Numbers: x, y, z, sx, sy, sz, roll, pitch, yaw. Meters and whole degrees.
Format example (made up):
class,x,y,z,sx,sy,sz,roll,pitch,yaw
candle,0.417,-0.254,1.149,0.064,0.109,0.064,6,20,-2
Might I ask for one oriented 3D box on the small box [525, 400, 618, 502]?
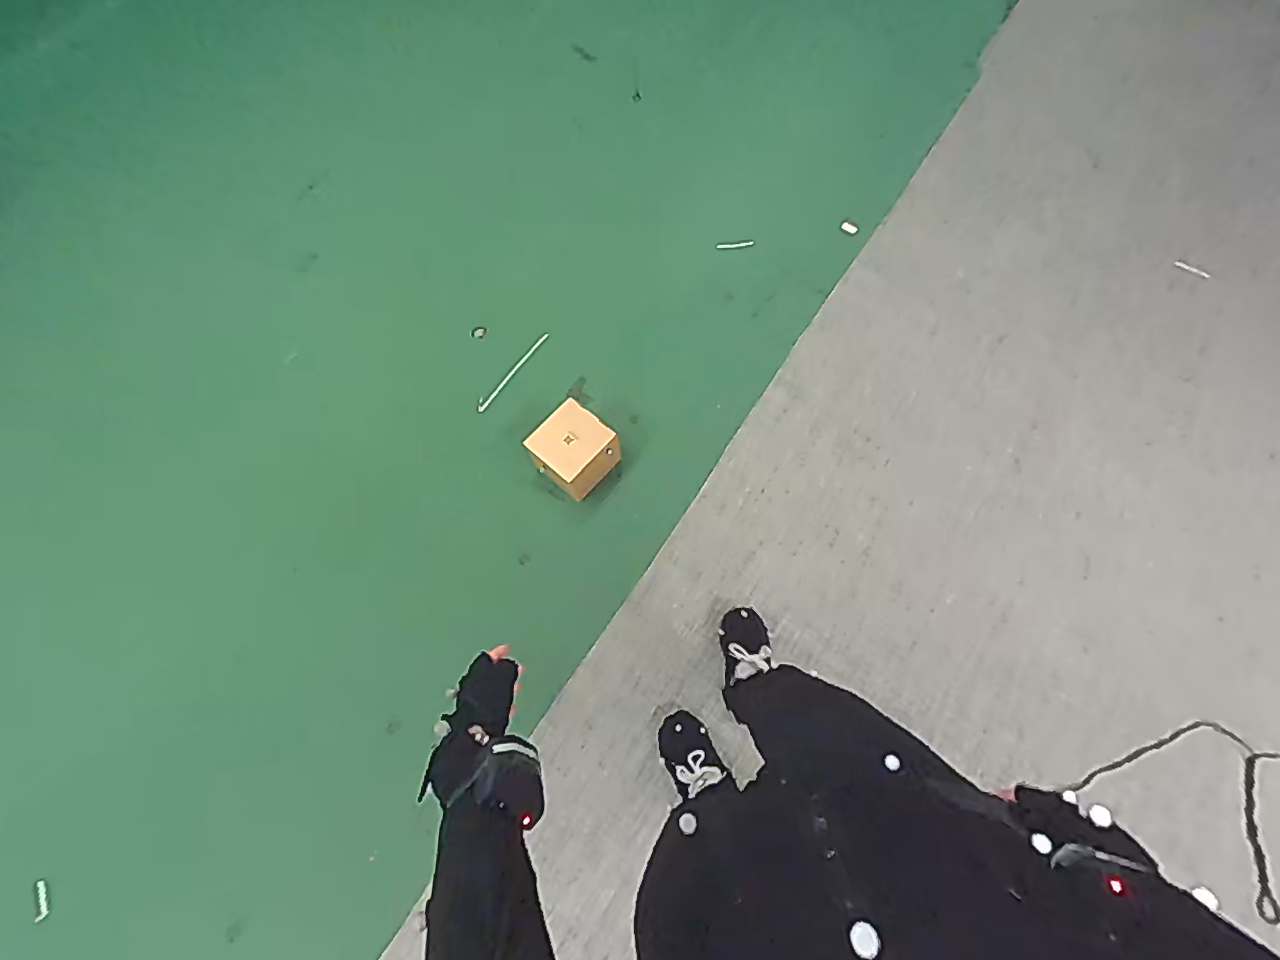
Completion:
class,x,y,z,sx,sy,sz,roll,pitch,yaw
small box,-0.171,-0.069,1.428,0.168,0.176,0.179,39,75,14
